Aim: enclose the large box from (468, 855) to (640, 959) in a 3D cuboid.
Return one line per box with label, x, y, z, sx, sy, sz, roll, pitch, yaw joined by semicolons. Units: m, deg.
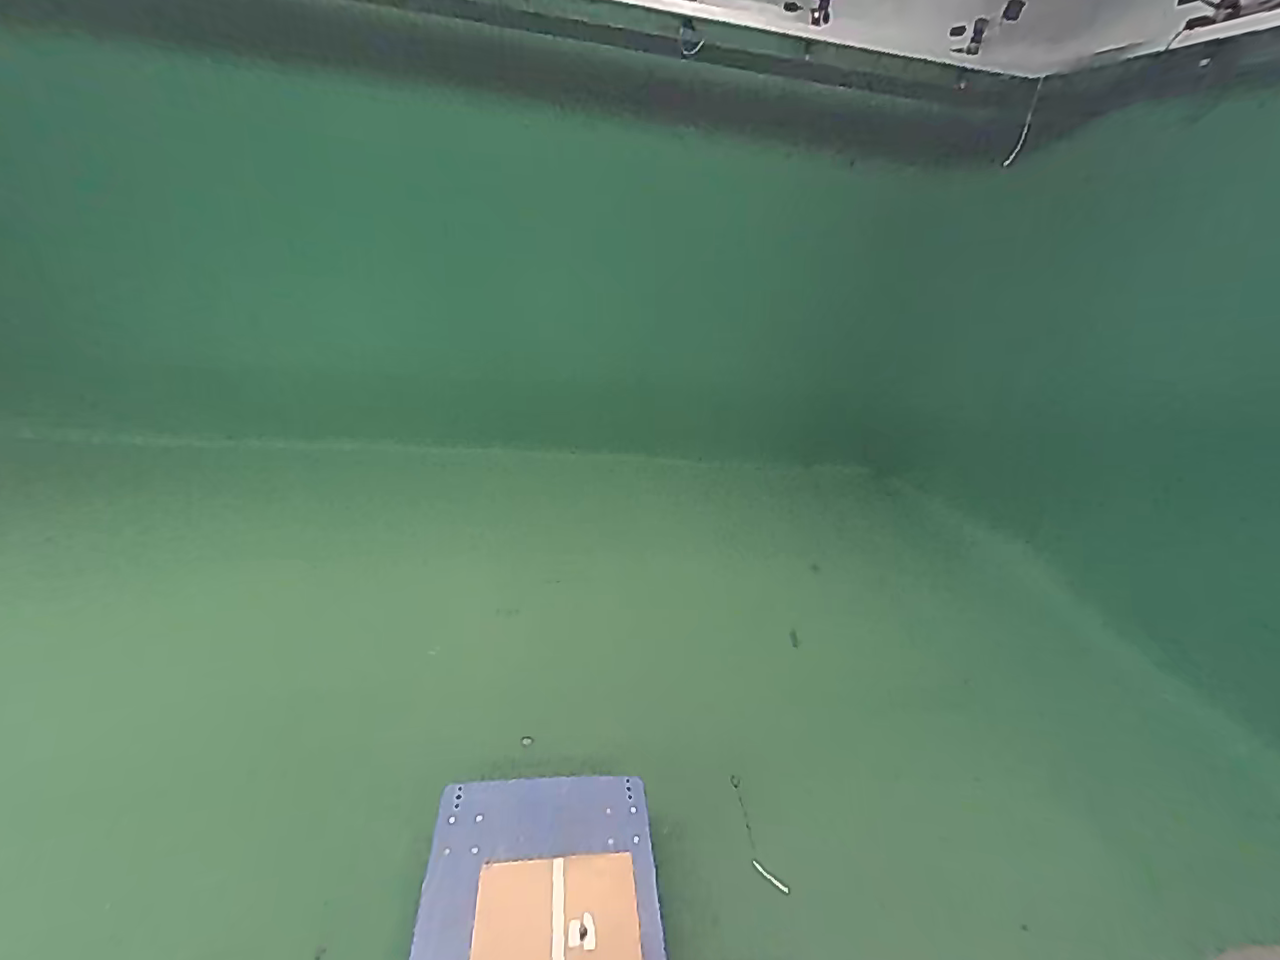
large box;-0.163;1.015;1.014;0.320;0.320;0.408;3;27;-10
